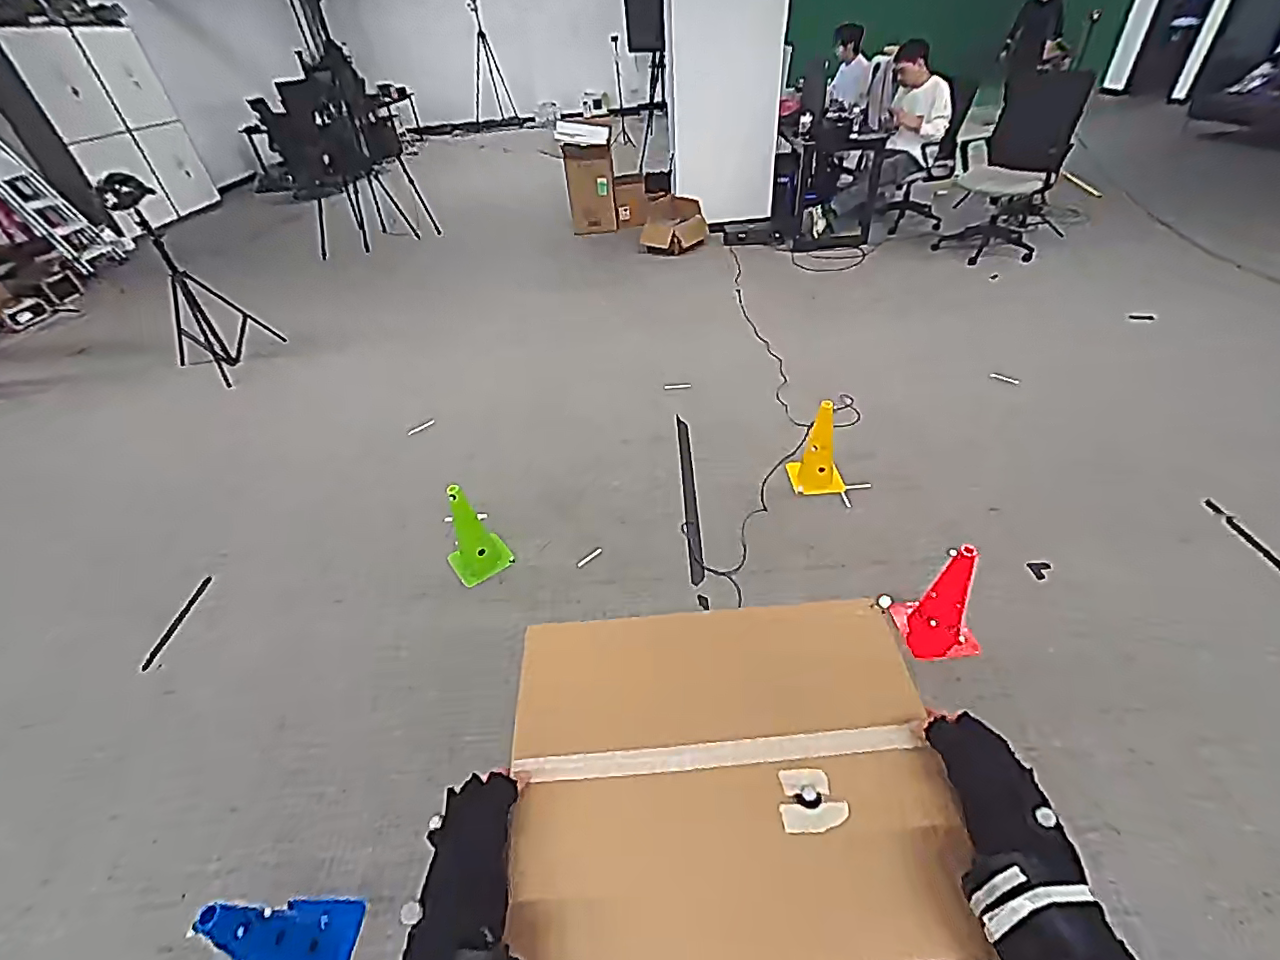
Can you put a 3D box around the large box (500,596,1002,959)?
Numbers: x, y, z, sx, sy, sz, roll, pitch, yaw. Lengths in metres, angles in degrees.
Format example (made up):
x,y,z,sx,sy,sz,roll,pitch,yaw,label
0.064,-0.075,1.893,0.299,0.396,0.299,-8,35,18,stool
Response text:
x,y,z,sx,sy,sz,roll,pitch,yaw,label
0.083,0.366,0.624,0.408,0.320,0.320,-4,44,-1,large box

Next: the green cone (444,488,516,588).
x,y,z,sx,sy,sz,roll,pitch,yaw,label
-0.606,0.170,1.904,0.202,0.368,0.200,-31,45,-24,green cone

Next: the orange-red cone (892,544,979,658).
x,y,z,sx,sy,sz,roll,pitch,yaw,label
0.878,0.316,1.531,0.198,0.360,0.199,-5,39,0,orange-red cone

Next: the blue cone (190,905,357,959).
x,y,z,sx,sy,sz,roll,pitch,yaw,label
-0.741,0.917,1.065,0.192,0.380,0.193,-3,40,6,blue cone
